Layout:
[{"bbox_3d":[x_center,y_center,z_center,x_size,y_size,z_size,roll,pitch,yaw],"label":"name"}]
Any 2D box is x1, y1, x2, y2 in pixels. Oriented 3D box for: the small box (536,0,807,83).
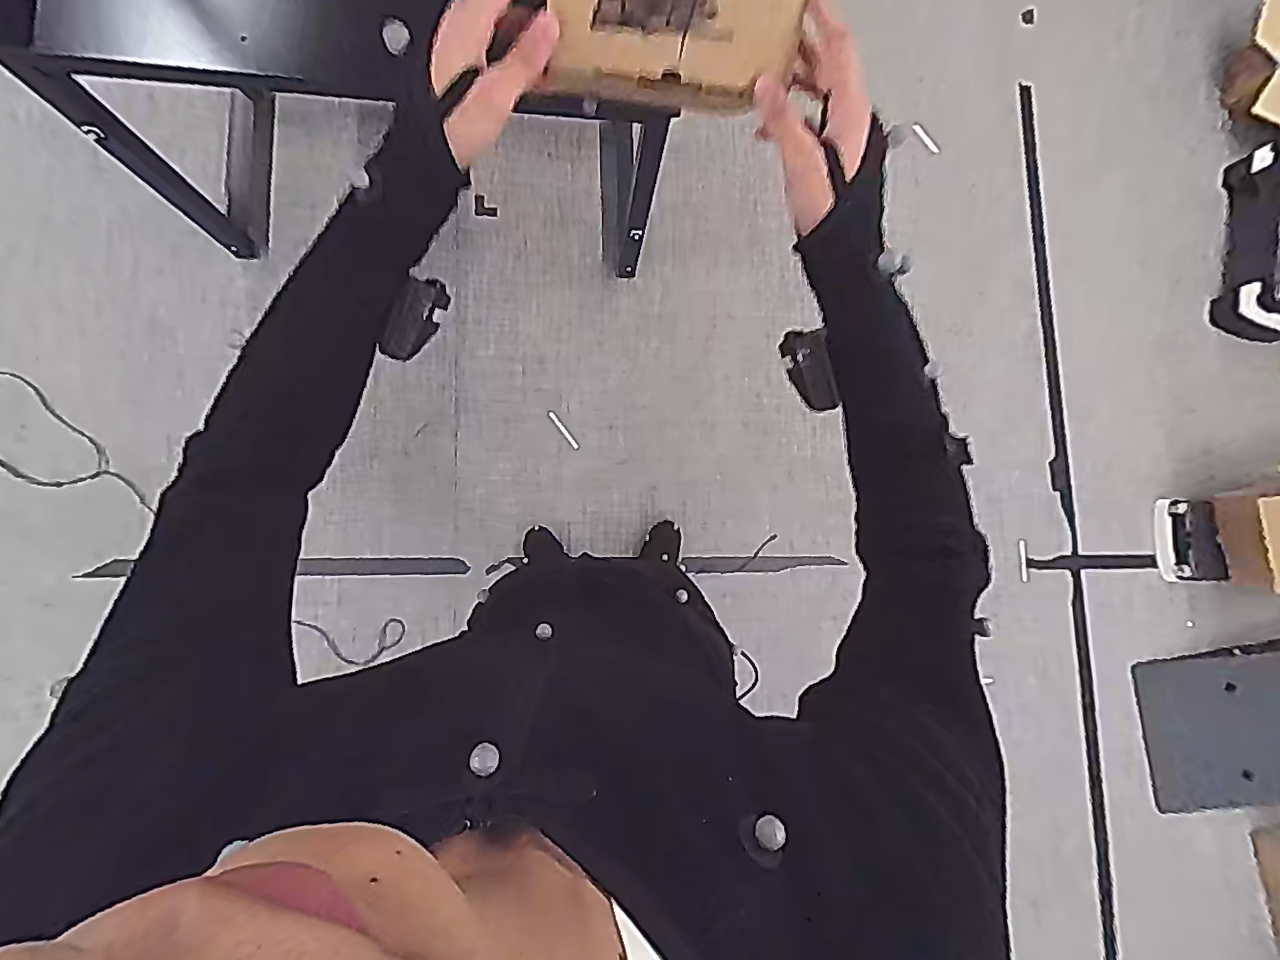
[{"bbox_3d":[0.021,-0.384,0.359,0.168,0.176,0.179,2,121,-8],"label":"small box"}]
